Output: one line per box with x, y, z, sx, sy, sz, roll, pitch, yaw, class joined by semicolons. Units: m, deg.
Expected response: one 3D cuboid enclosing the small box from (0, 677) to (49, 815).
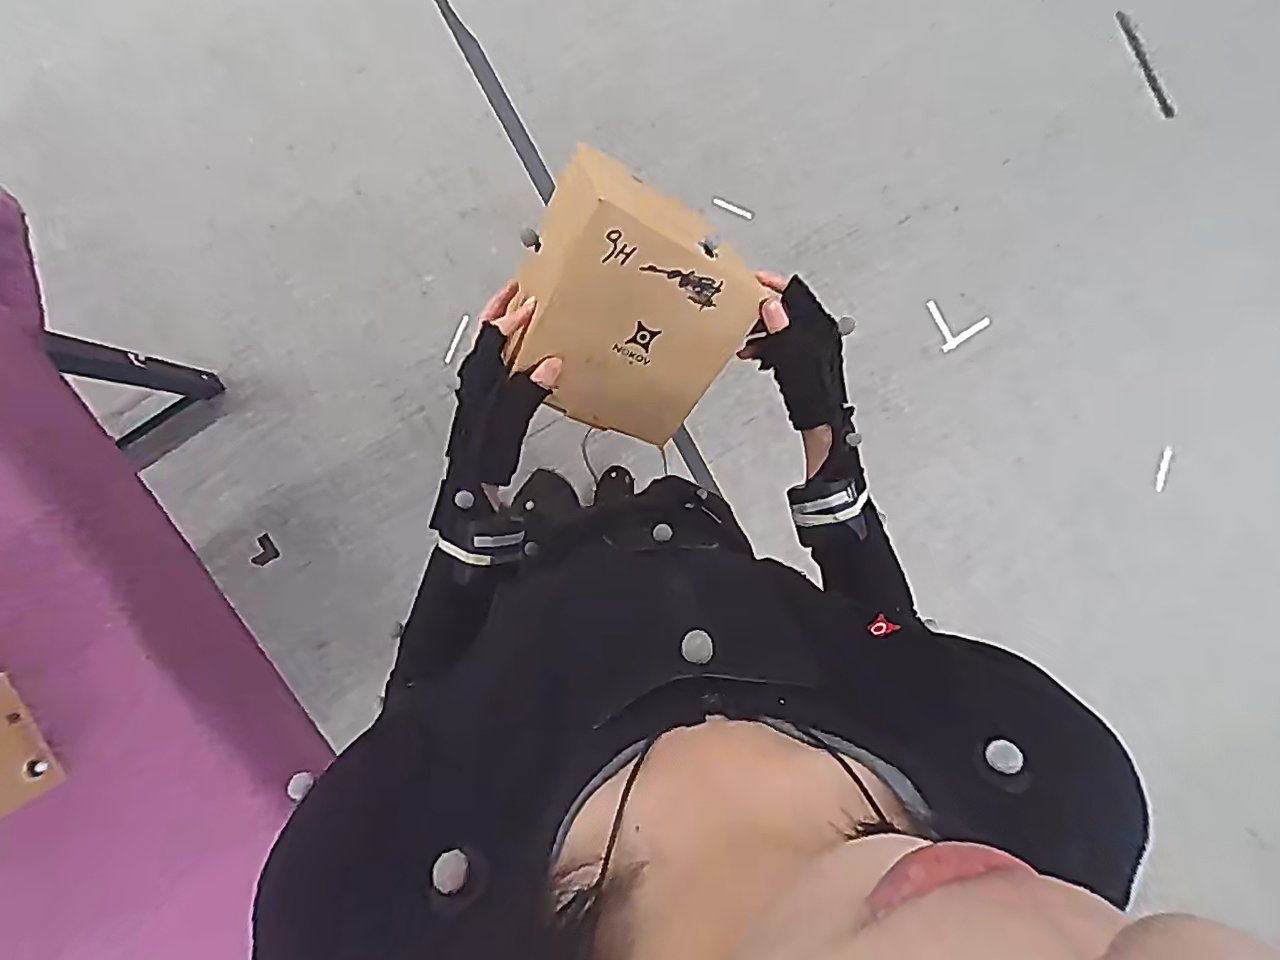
-0.858;0.356;0.620;0.179;0.176;0.168;-26;94;-4;small box
